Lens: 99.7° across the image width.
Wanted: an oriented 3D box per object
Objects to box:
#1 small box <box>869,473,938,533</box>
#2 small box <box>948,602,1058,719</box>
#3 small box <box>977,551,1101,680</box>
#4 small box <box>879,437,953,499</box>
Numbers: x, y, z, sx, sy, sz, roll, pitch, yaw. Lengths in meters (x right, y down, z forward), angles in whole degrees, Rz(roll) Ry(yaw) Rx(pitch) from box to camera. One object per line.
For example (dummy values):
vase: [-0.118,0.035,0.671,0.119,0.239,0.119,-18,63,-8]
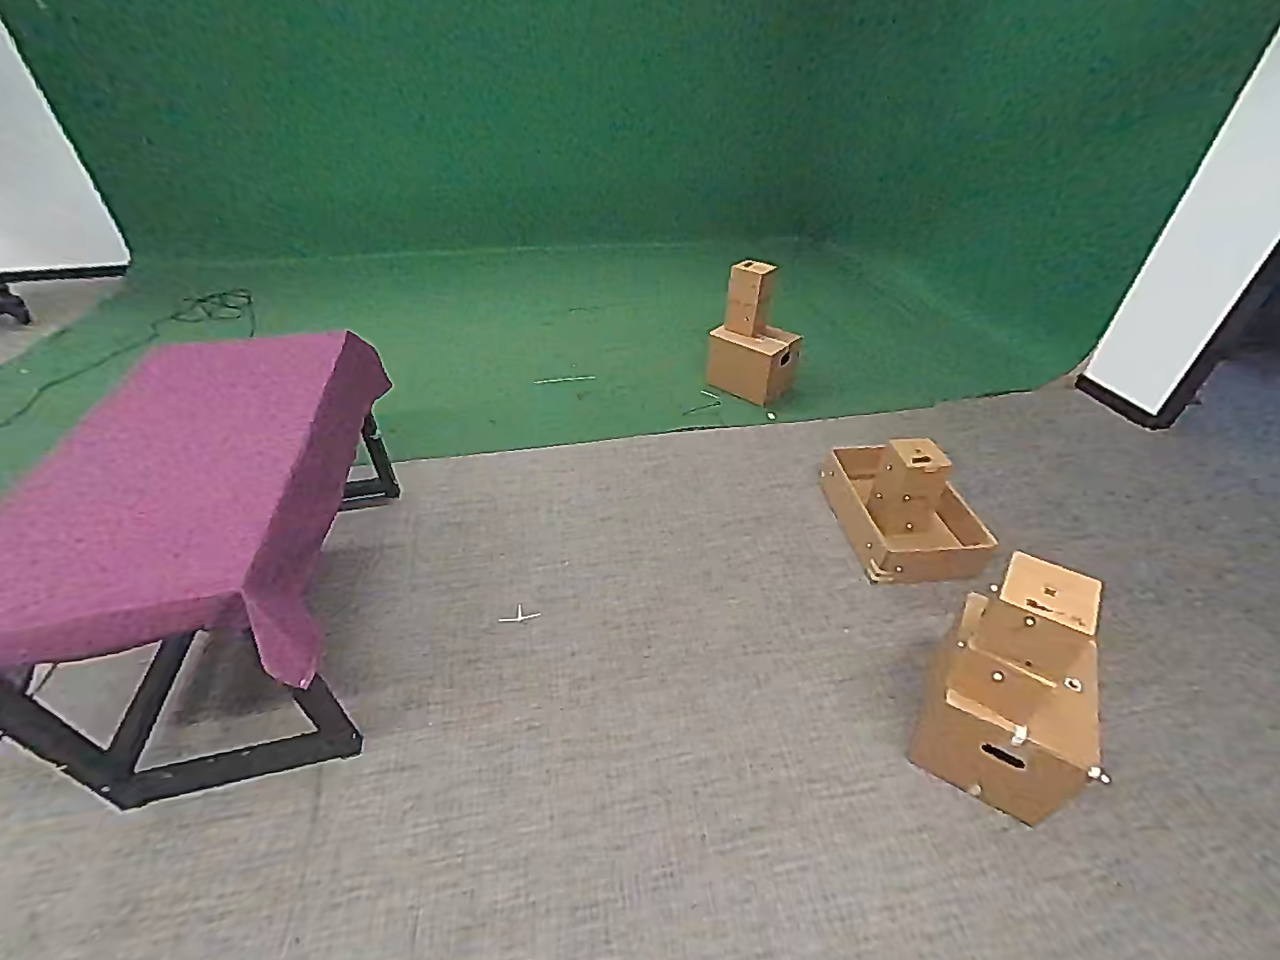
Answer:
small box: [1.019,0.087,2.109,0.168,0.176,0.179,-3,39,-3]
small box: [0.867,0.430,1.278,0.179,0.176,0.168,27,47,33]
small box: [0.869,0.294,1.185,0.168,0.176,0.179,23,44,31]
small box: [1.016,-0.042,2.007,0.168,0.176,0.179,-2,38,-3]
